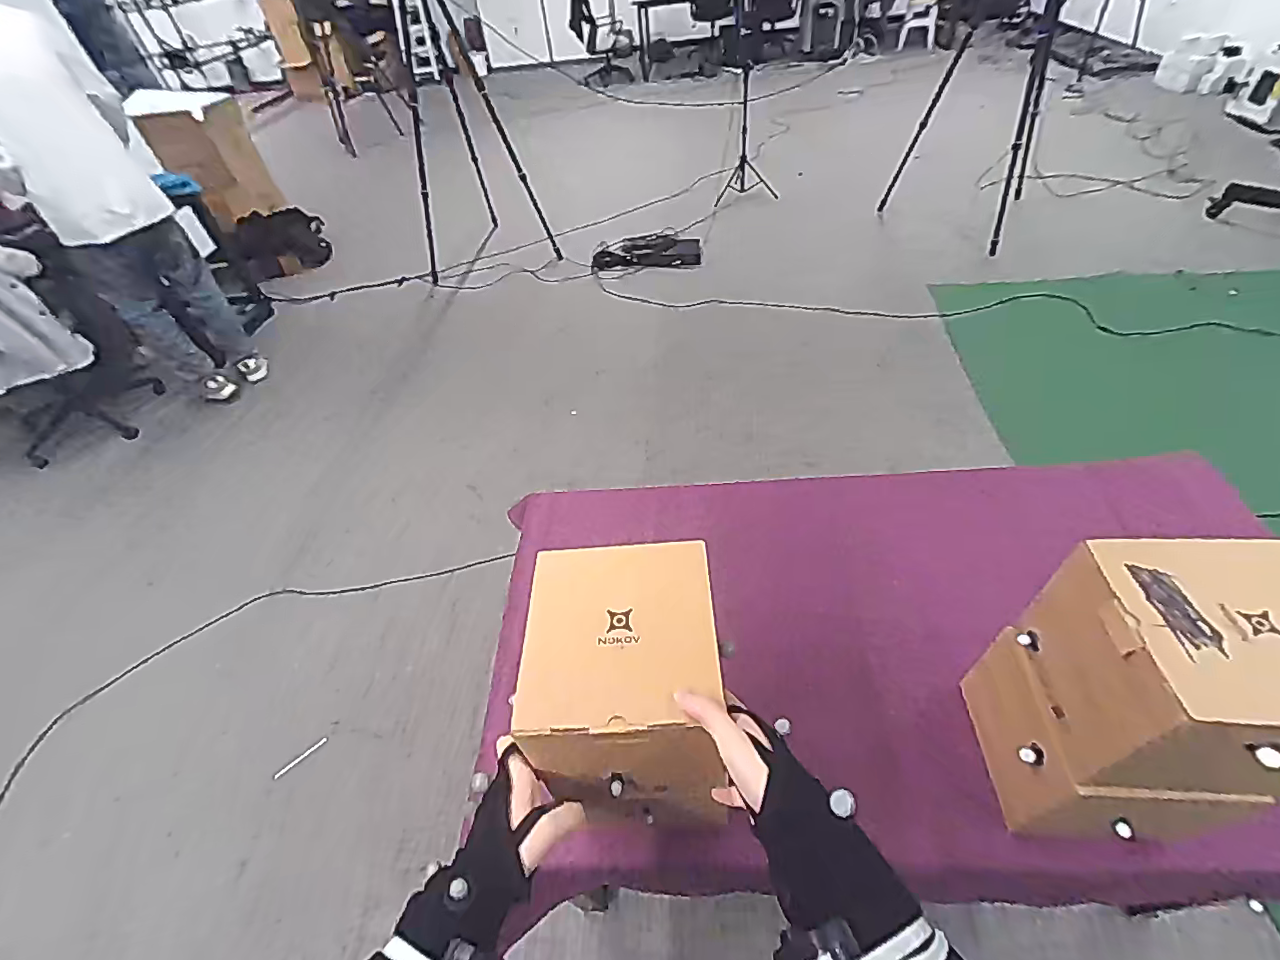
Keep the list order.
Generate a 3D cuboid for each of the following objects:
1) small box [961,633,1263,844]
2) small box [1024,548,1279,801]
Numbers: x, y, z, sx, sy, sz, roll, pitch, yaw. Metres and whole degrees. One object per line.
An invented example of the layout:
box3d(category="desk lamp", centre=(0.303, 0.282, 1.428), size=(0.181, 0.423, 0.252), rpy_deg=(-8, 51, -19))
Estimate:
box3d(category="small box", centre=(0.500, 0.294, 0.613), size=(0.168, 0.176, 0.179), rpy_deg=(0, 47, 6))
box3d(category="small box", centre=(0.493, 0.179, 0.495), size=(0.179, 0.176, 0.168), rpy_deg=(0, 47, 7))
